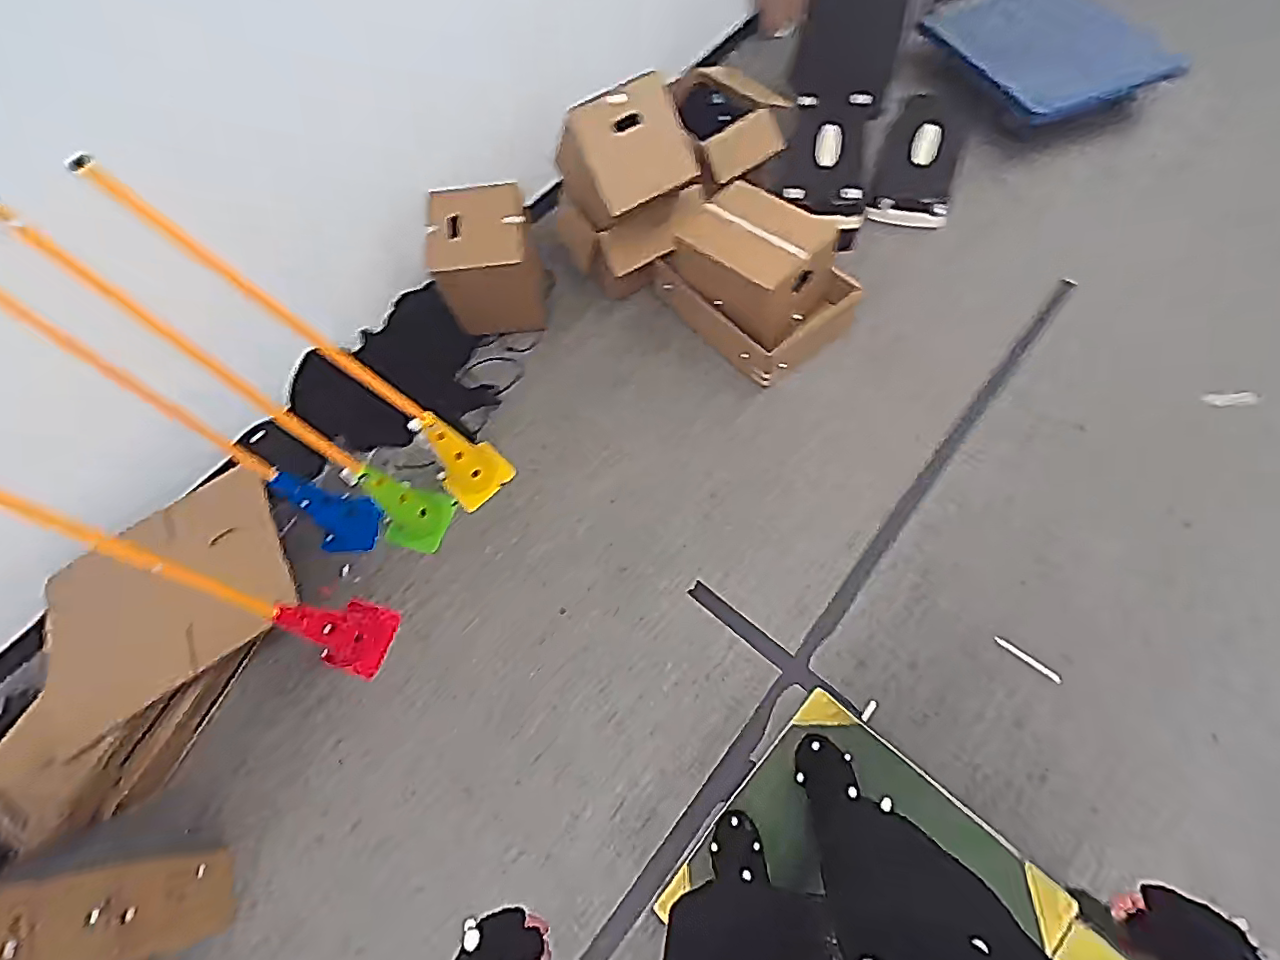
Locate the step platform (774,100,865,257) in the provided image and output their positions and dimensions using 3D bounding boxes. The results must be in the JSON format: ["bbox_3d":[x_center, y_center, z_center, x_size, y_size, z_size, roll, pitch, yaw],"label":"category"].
[{"bbox_3d":[0.701,-1.187,2.099,0.286,0.204,0.684,7,65,14],"label":"step platform"}]
